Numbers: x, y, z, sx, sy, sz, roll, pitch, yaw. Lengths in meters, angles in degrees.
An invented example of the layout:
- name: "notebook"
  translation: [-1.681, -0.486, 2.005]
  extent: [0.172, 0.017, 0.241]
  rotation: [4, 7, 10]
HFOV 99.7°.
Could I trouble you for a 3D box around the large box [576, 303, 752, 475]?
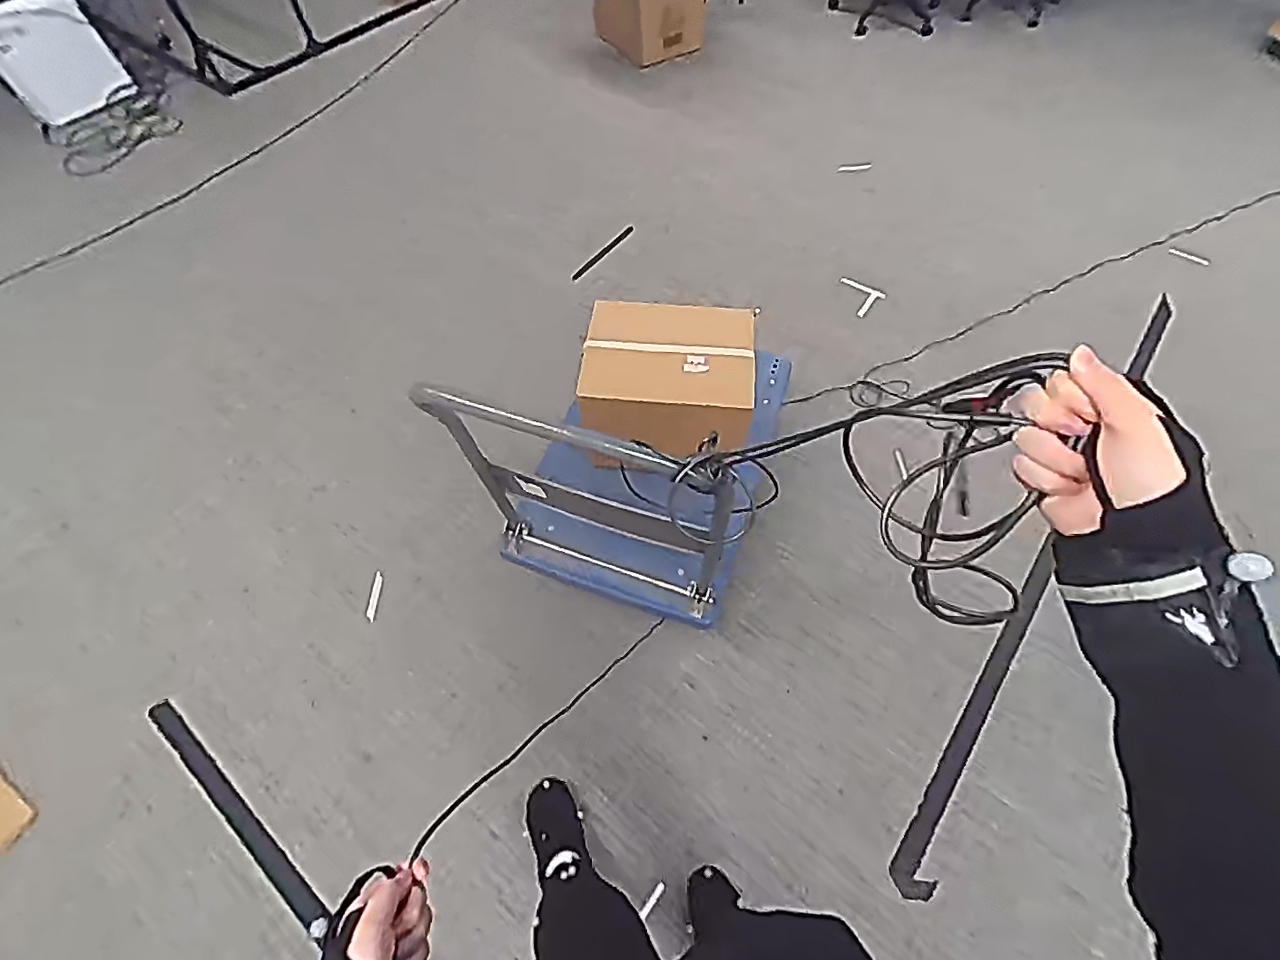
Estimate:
- name: "large box"
  translation: [0.063, -0.228, 1.409]
  extent: [0.408, 0.320, 0.320]
  rotation: [5, 61, 3]
